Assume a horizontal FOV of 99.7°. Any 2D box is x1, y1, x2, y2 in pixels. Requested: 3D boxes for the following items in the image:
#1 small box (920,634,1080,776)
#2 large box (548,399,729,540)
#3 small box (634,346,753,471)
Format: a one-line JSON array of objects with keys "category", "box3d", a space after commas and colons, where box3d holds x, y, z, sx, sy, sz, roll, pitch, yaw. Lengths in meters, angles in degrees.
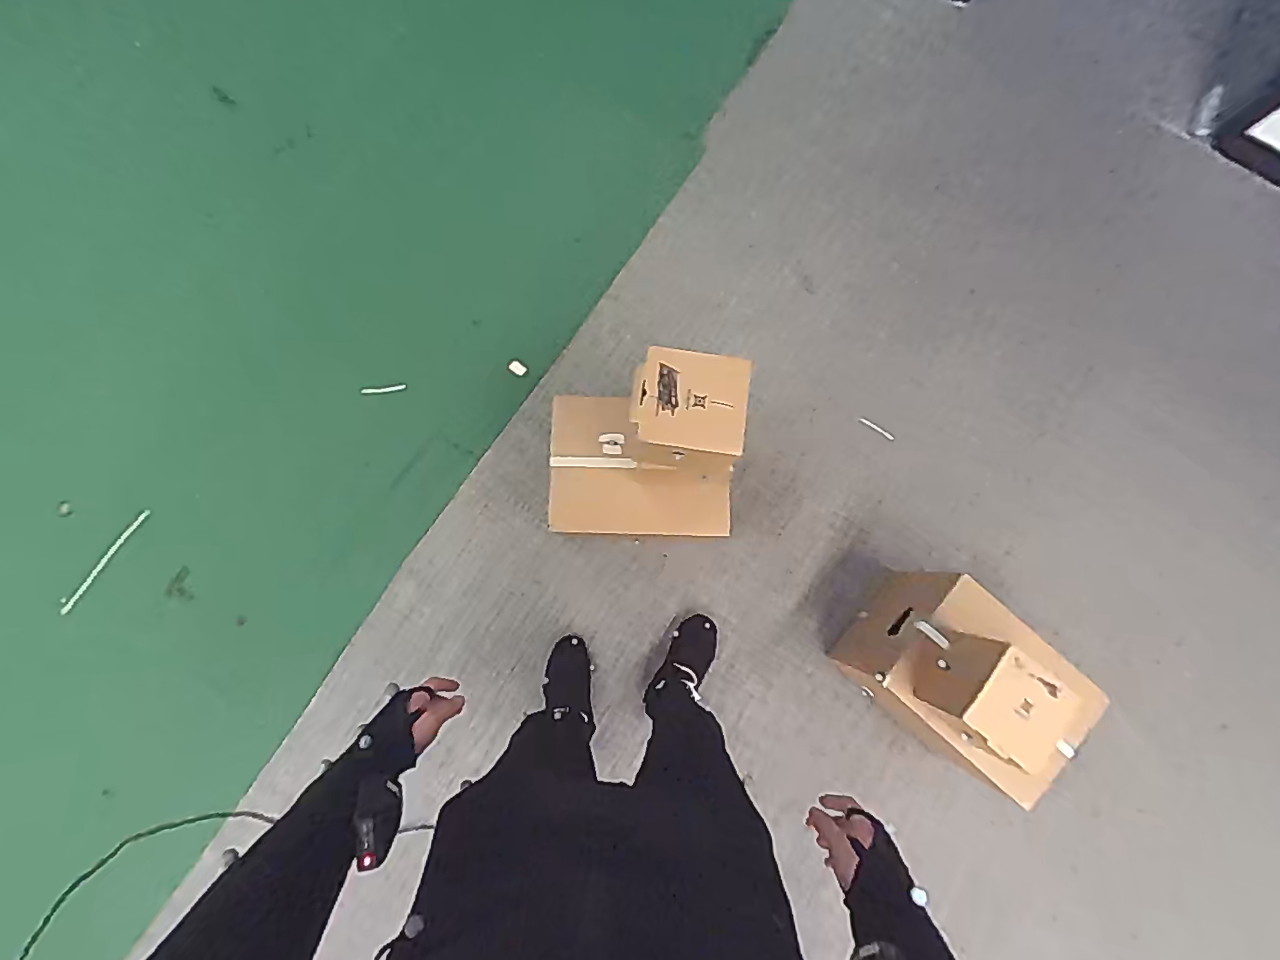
[{"category": "small box", "box3d": [0.691, 0.431, 1.067, 0.168, 0.176, 0.179, 39, 83, 3]}, {"category": "large box", "box3d": [-0.005, -0.009, 1.351, 0.408, 0.320, 0.320, 1, 80, -2]}, {"category": "small box", "box3d": [0.086, -0.117, 0.956, 0.179, 0.176, 0.168, 8, 81, -2]}]
